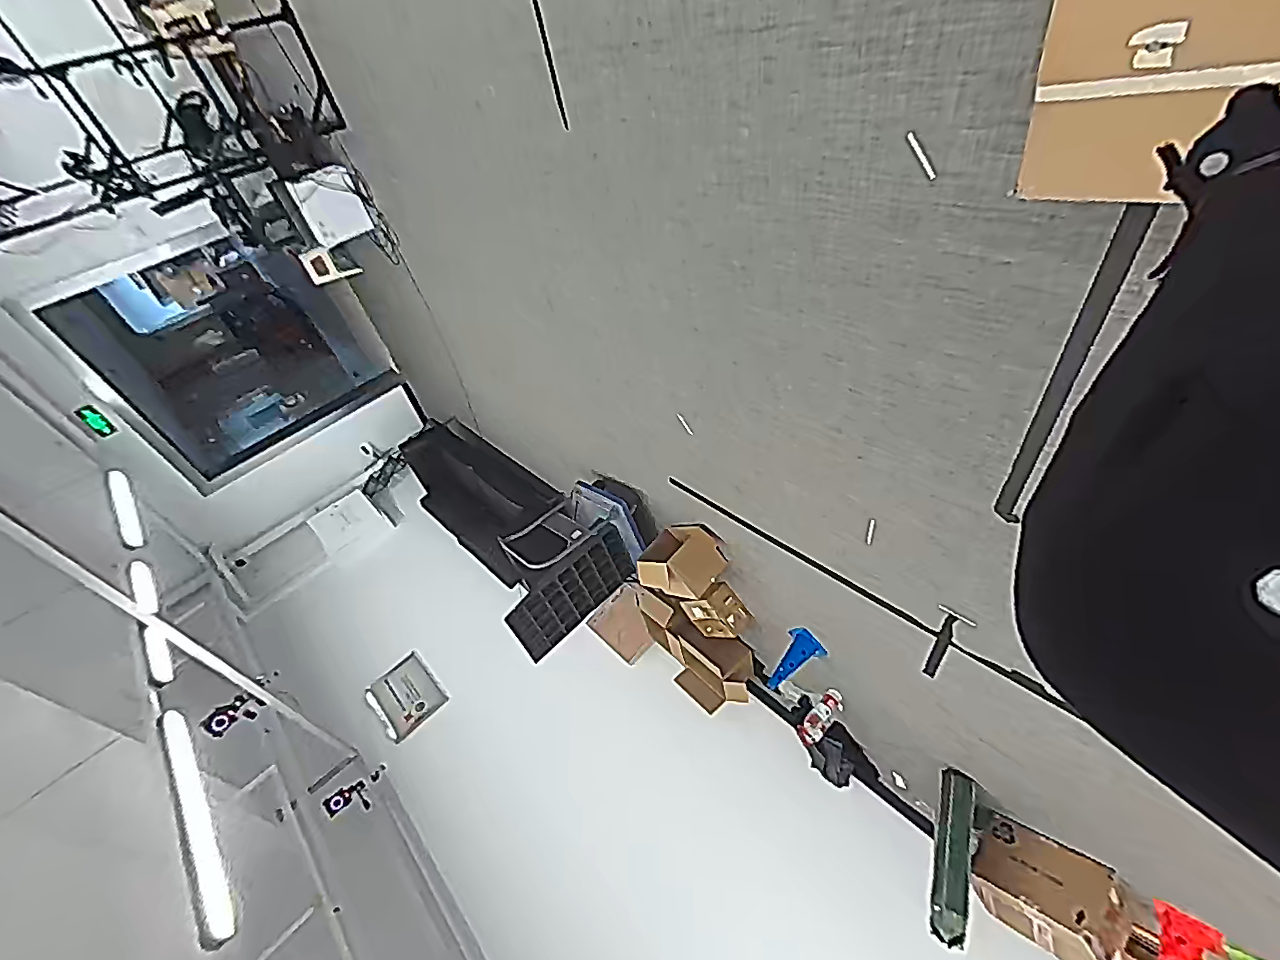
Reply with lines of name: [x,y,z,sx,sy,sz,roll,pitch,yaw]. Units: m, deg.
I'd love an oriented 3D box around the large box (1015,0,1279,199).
large box: [0.856,-0.624,0.774,0.408,0.320,0.320,31,148,41]
